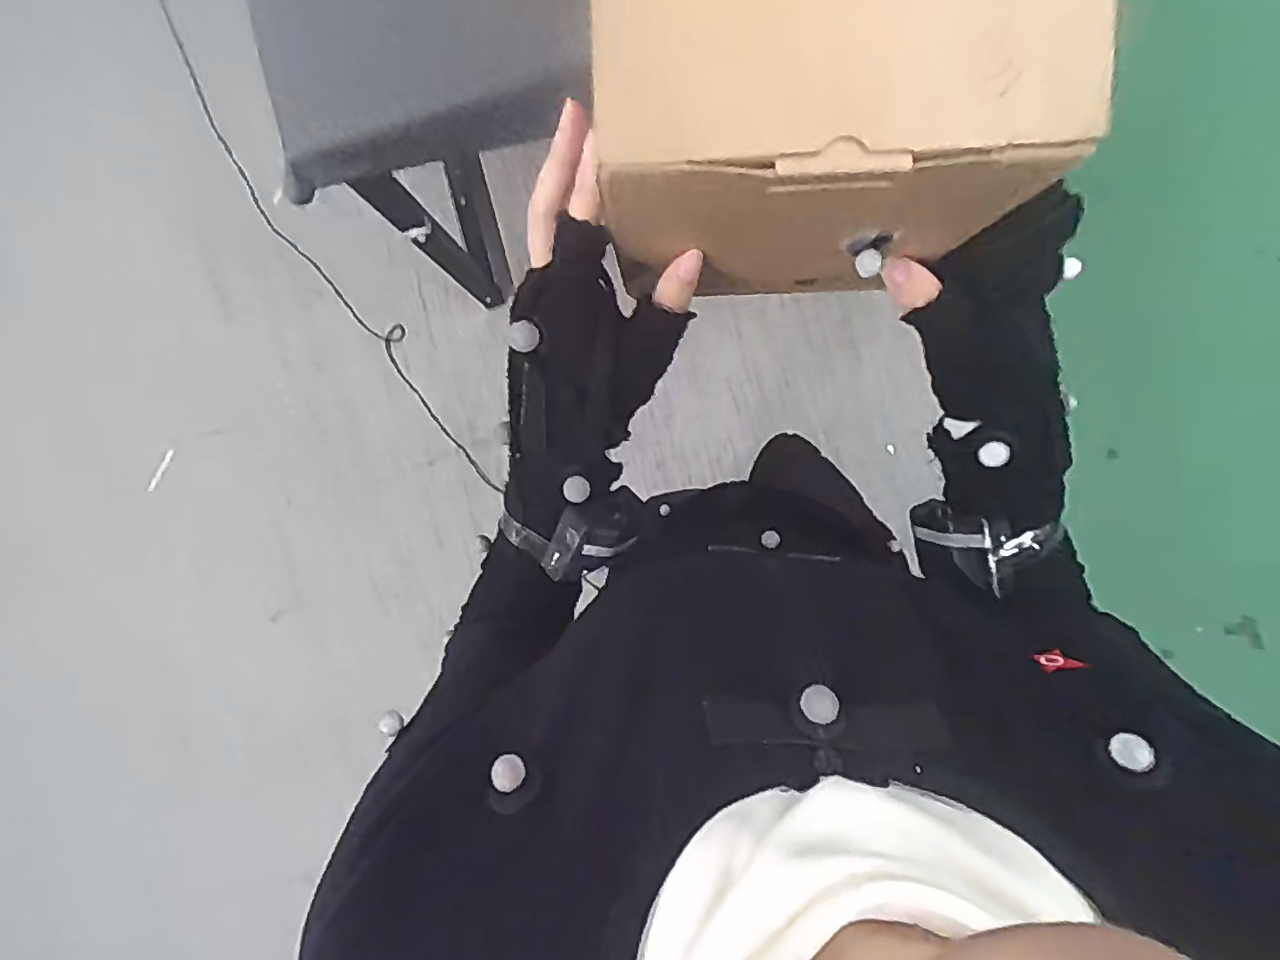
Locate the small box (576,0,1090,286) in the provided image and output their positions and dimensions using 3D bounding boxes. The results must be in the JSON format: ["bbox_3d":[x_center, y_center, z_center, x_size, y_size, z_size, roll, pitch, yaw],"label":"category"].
[{"bbox_3d":[0.065,-0.199,0.253,0.168,0.176,0.179,1,93,2],"label":"small box"}]
